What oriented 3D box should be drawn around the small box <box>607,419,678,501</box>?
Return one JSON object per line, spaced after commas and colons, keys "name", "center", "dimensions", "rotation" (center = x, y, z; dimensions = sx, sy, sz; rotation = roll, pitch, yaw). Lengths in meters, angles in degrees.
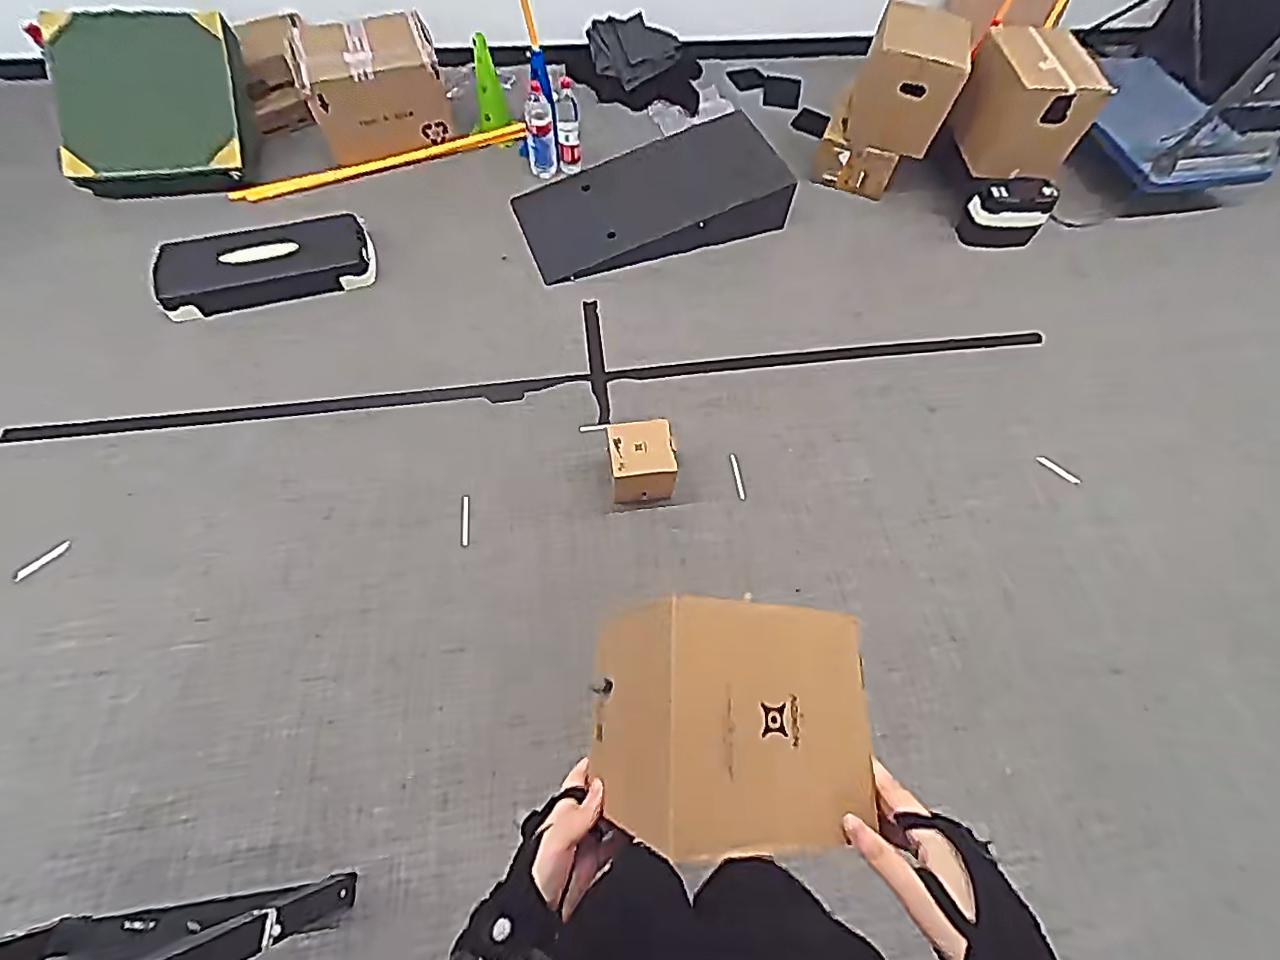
{"name": "small box", "center": [0.001, -0.053, 1.524], "dimensions": [0.179, 0.176, 0.168], "rotation": [-6, 63, -7]}
